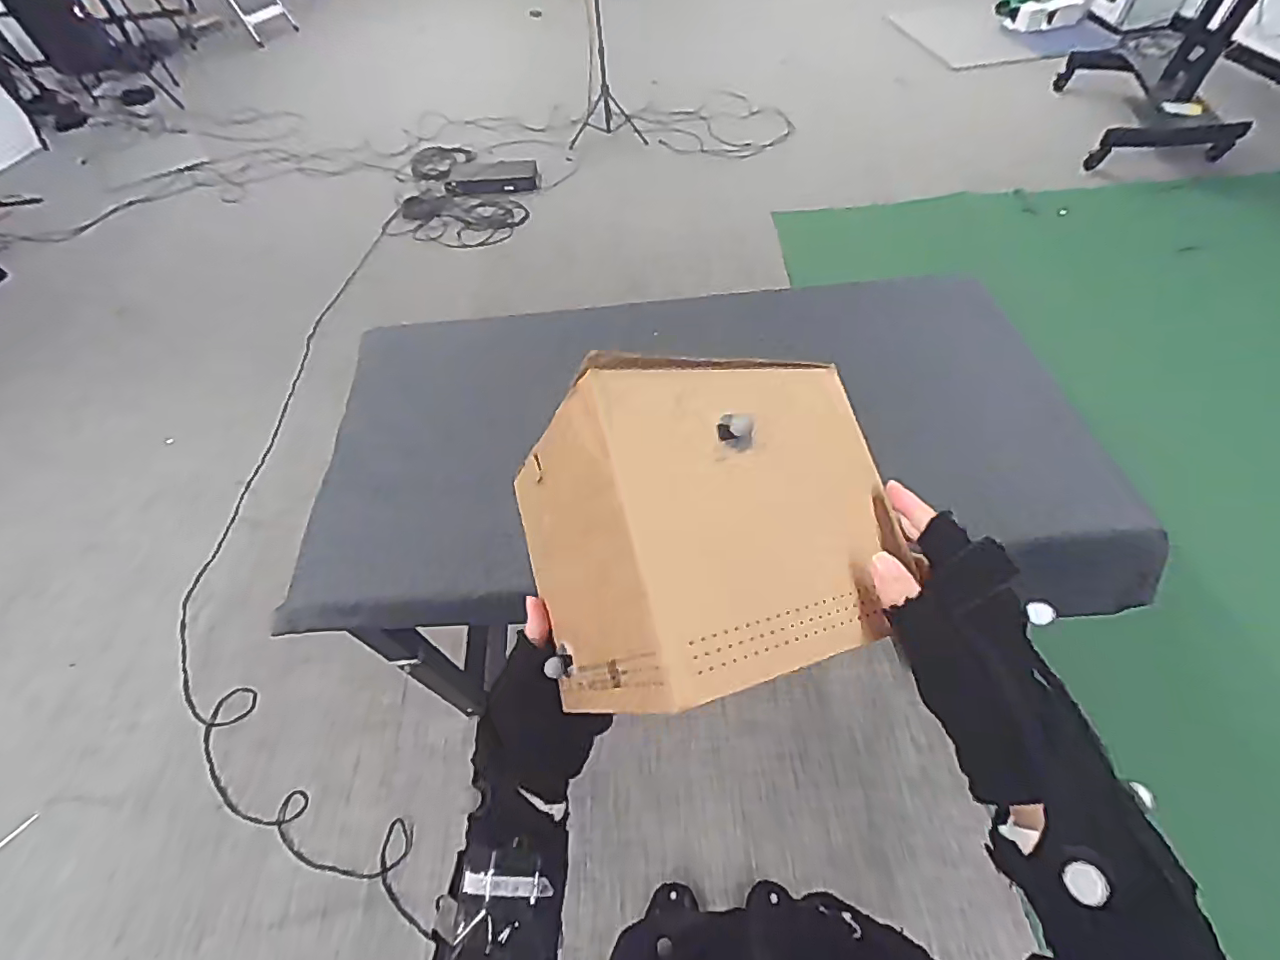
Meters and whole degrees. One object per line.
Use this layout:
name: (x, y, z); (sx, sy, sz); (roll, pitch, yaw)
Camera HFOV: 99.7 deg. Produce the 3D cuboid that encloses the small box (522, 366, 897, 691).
small box: (0.037, 0.039, 0.370); (0.179, 0.168, 0.176); (-6, 73, -30)
